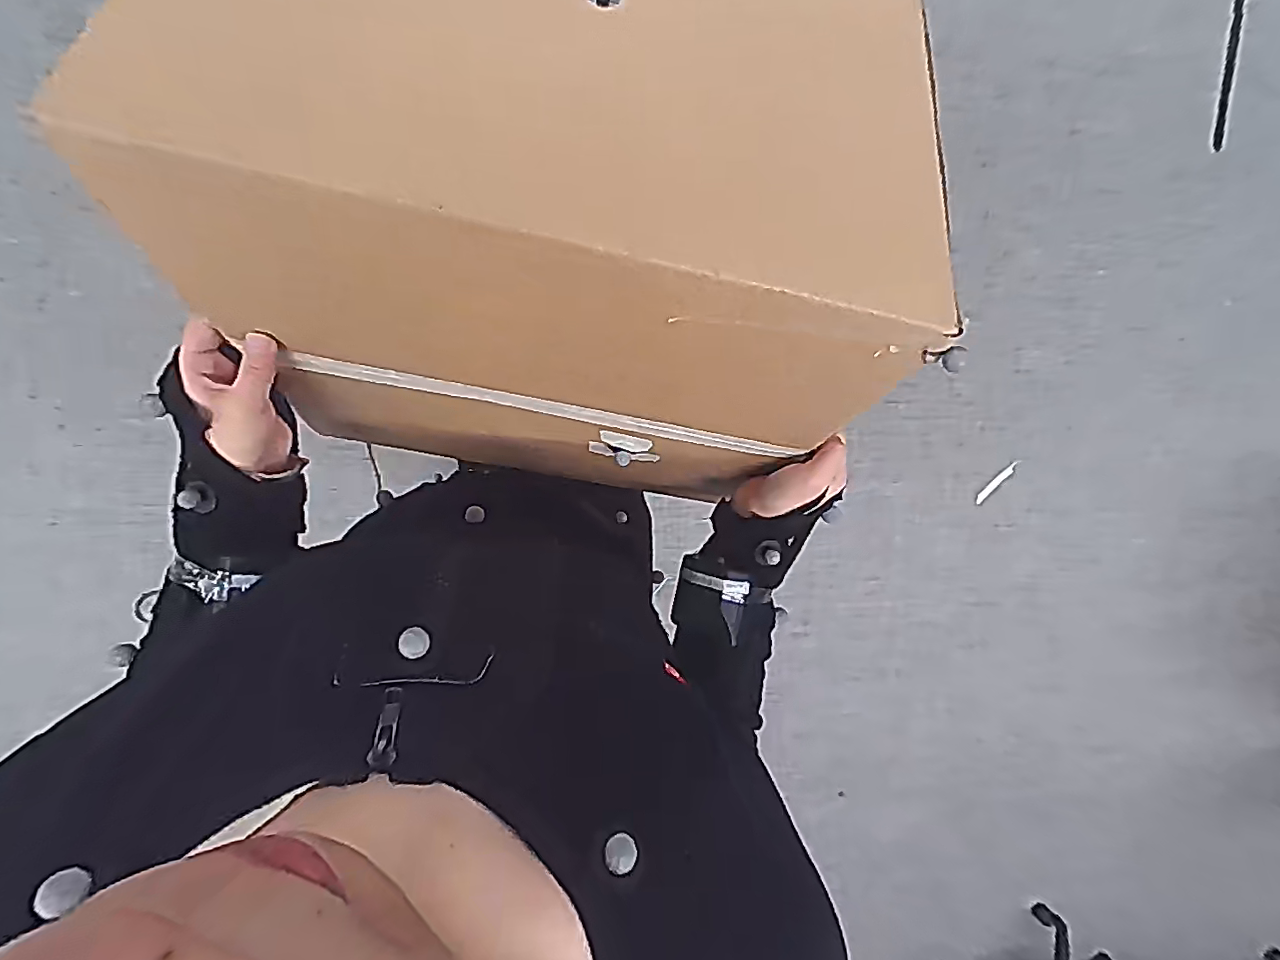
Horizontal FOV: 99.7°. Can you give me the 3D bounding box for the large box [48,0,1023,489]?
[{"bbox_3d":[-0.034,-0.211,0.406,0.408,0.320,0.320,9,71,-8],"label":"large box"}]
